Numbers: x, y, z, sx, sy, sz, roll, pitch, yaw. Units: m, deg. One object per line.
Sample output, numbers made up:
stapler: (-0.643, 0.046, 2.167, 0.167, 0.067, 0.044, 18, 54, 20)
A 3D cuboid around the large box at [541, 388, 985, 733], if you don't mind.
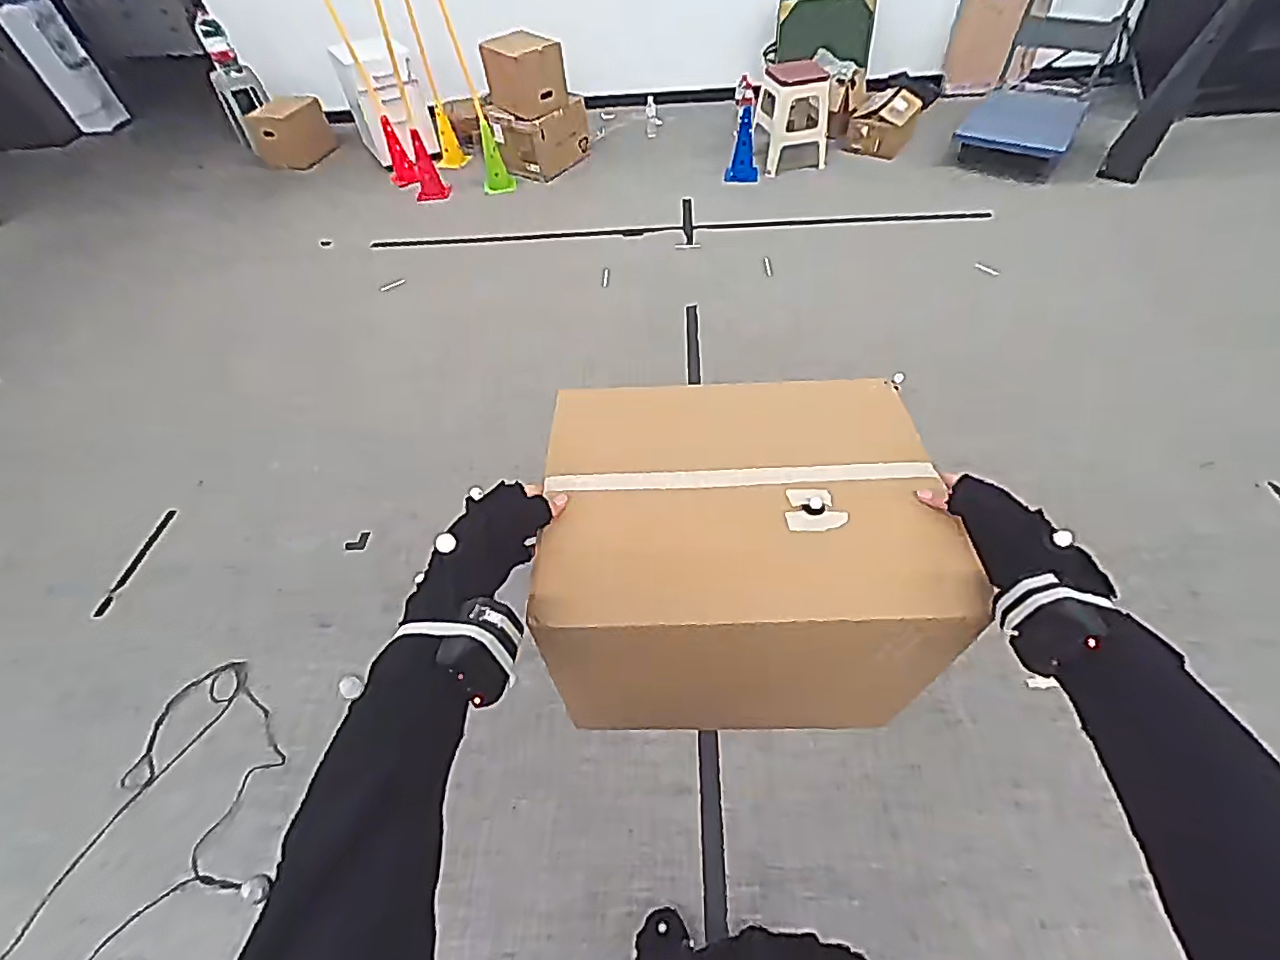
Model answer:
large box: (0.109, 0.107, 0.685, 0.408, 0.320, 0.320, -2, 49, 1)
